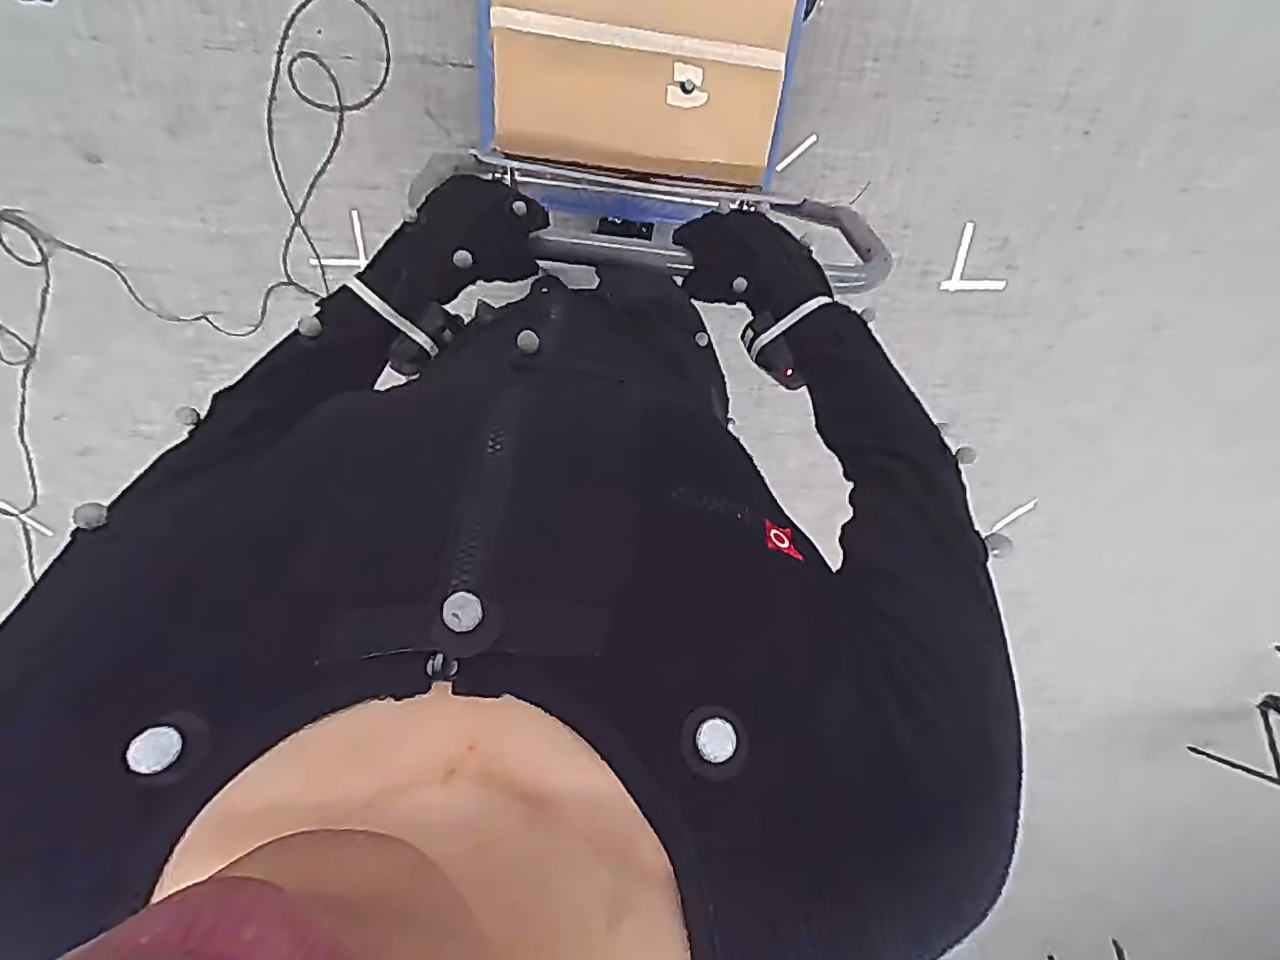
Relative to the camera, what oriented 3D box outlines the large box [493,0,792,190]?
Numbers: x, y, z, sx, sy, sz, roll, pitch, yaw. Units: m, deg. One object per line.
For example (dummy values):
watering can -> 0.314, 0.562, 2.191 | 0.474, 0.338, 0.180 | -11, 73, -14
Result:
large box -> -0.013, -0.662, 0.870 | 0.408, 0.320, 0.320 | 3, 118, -8
